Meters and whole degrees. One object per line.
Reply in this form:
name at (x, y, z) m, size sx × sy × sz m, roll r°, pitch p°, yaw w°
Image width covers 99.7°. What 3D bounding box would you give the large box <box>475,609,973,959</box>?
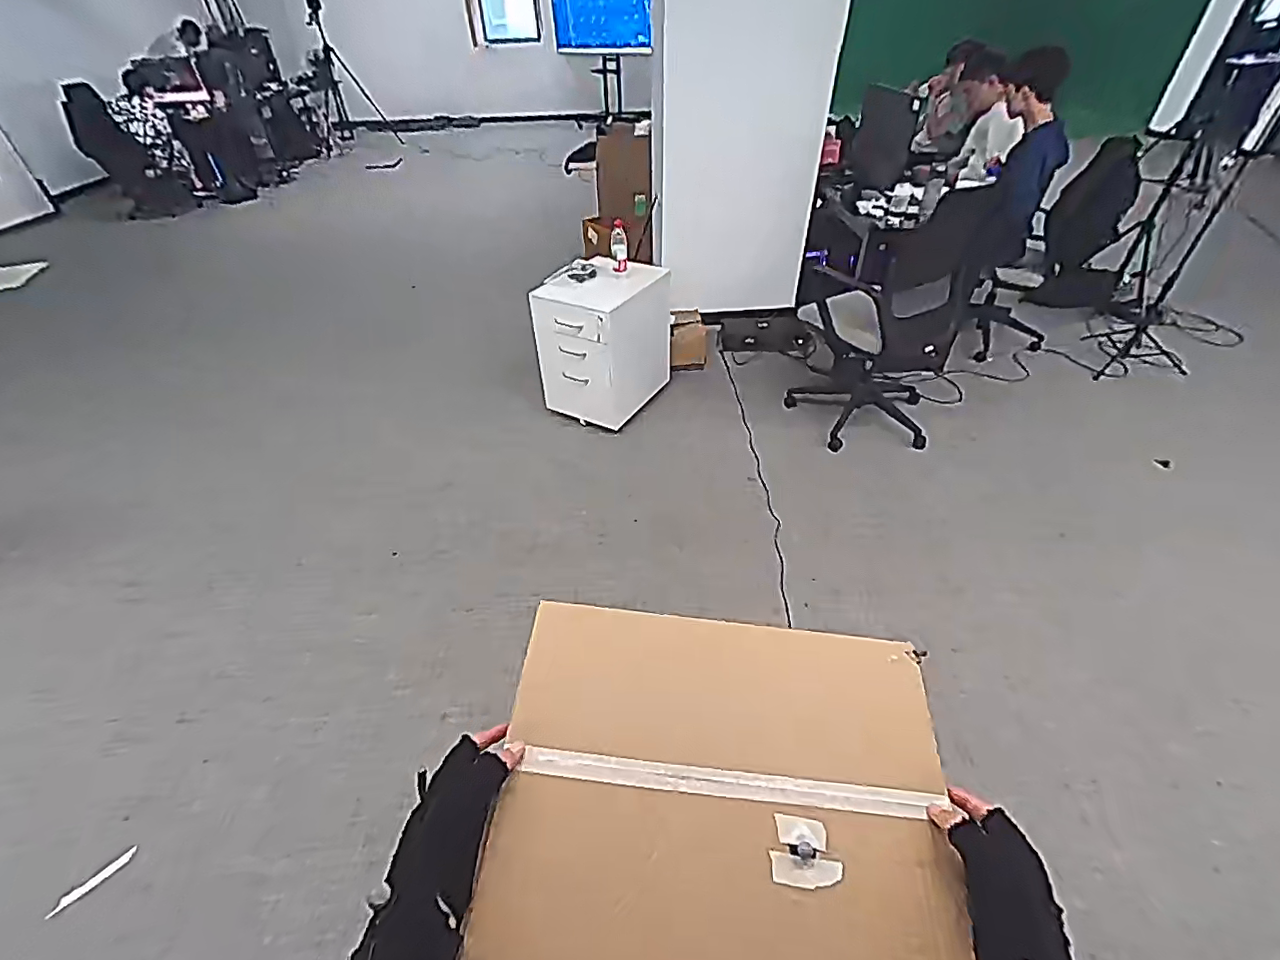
large box at (0.073, 0.374, 0.622) m, size 0.408 × 0.320 × 0.320 m, roll 6°, pitch 51°, yaw 2°
